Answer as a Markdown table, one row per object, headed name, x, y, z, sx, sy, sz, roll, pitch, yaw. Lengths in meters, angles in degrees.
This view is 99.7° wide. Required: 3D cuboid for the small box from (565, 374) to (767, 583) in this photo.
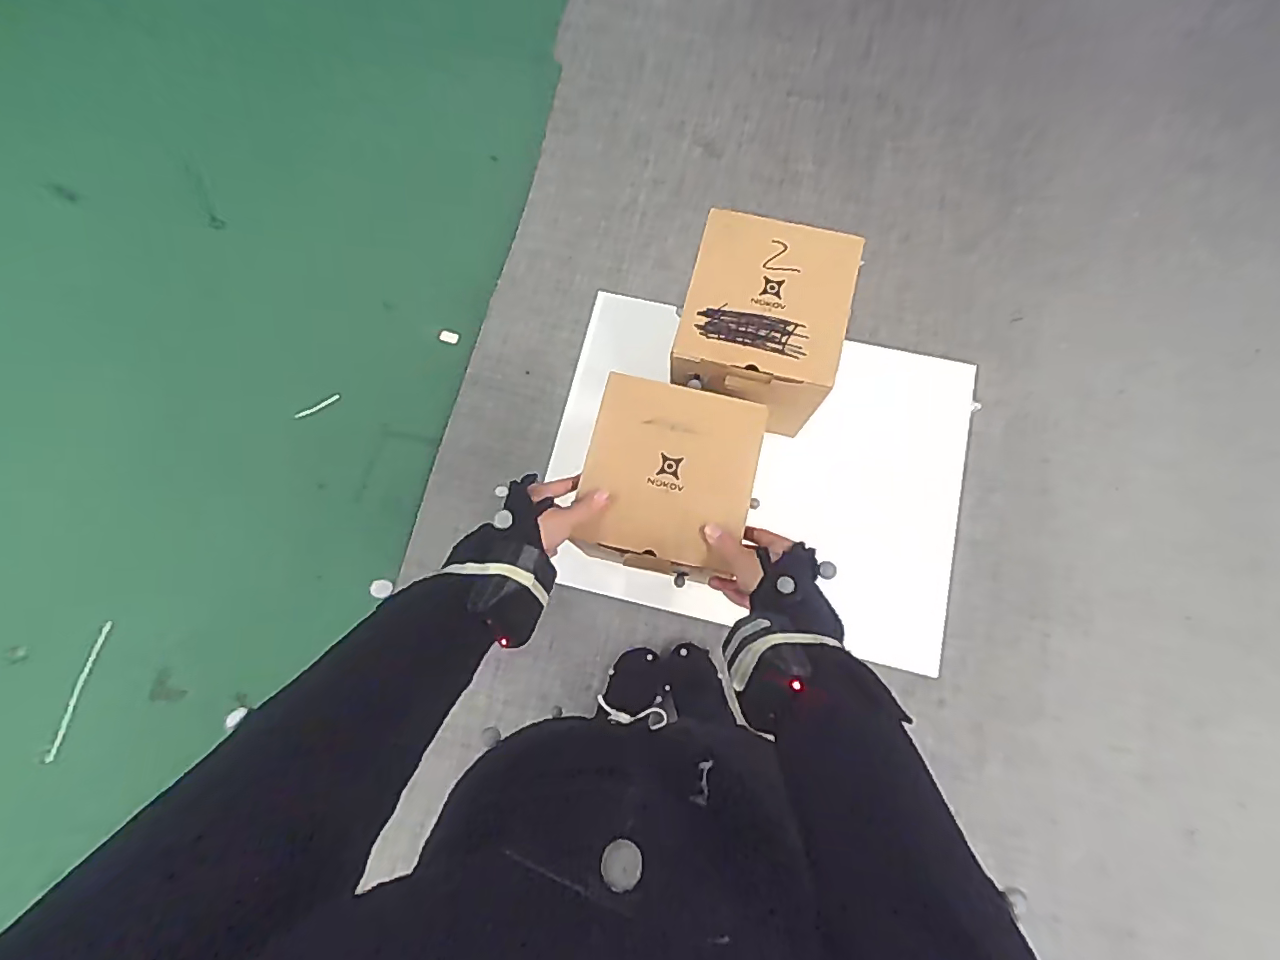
| name | x | y | z | sx | sy | sz | roll | pitch | yaw |
| --- | --- | --- | --- | --- | --- | --- | --- | --- | --- |
| small box | 0.029 | 0.011 | 0.597 | 0.168 | 0.176 | 0.179 | 13 | 76 | 4 |
